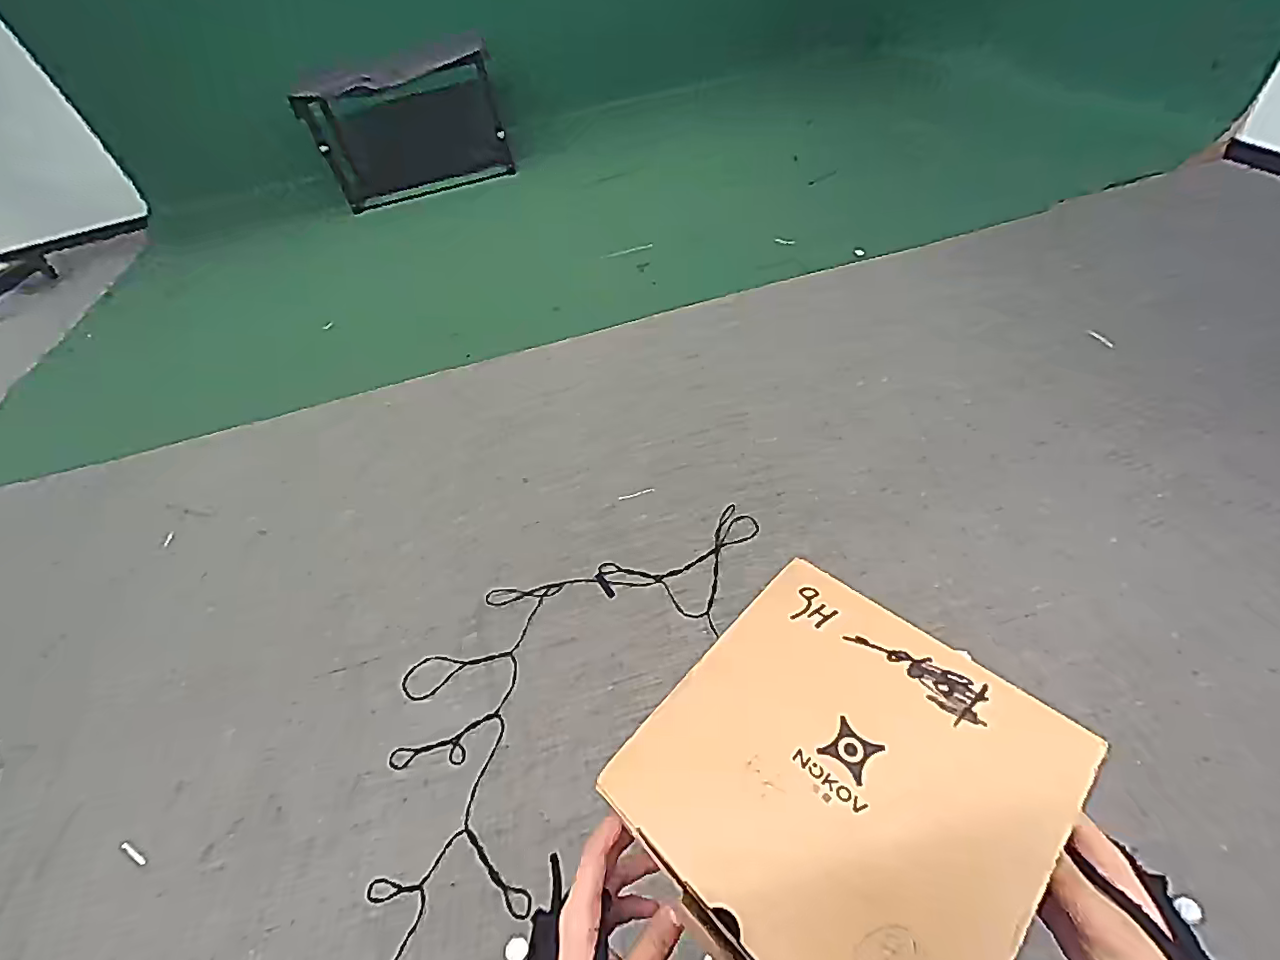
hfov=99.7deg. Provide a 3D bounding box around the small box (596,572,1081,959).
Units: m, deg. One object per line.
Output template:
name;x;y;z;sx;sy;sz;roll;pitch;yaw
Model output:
small box;0.105;0.198;0.321;0.168;0.176;0.179;32;61;34
